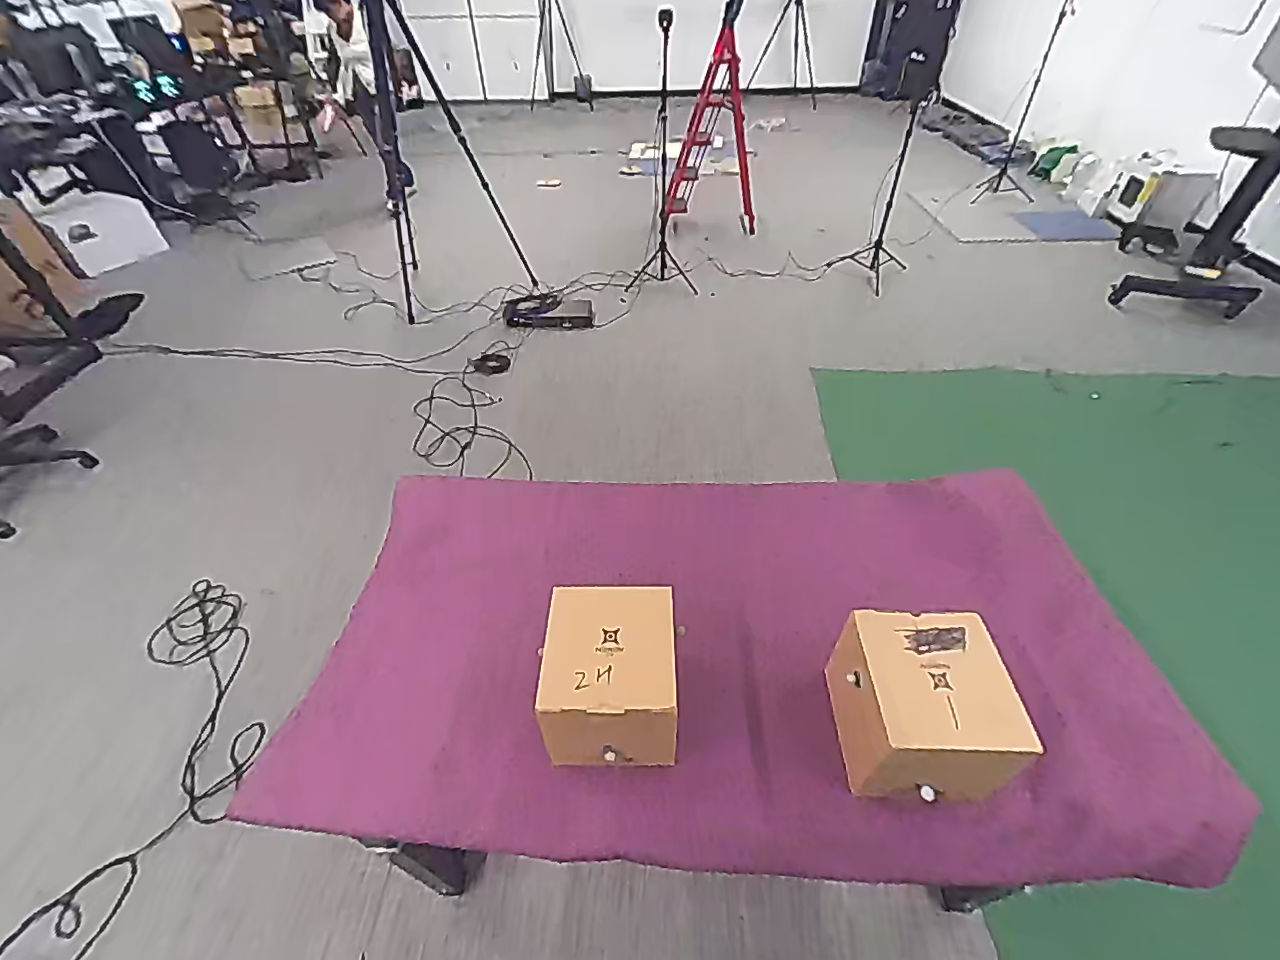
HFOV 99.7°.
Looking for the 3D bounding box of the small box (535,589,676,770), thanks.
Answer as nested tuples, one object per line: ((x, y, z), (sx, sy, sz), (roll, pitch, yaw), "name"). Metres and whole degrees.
((-0.038, 0.269, 0.734), (0.168, 0.176, 0.179), (-1, 42, 1), "small box")

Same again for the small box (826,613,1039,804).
((0.354, 0.295, 0.702), (0.168, 0.176, 0.179), (1, 44, 2), "small box")
